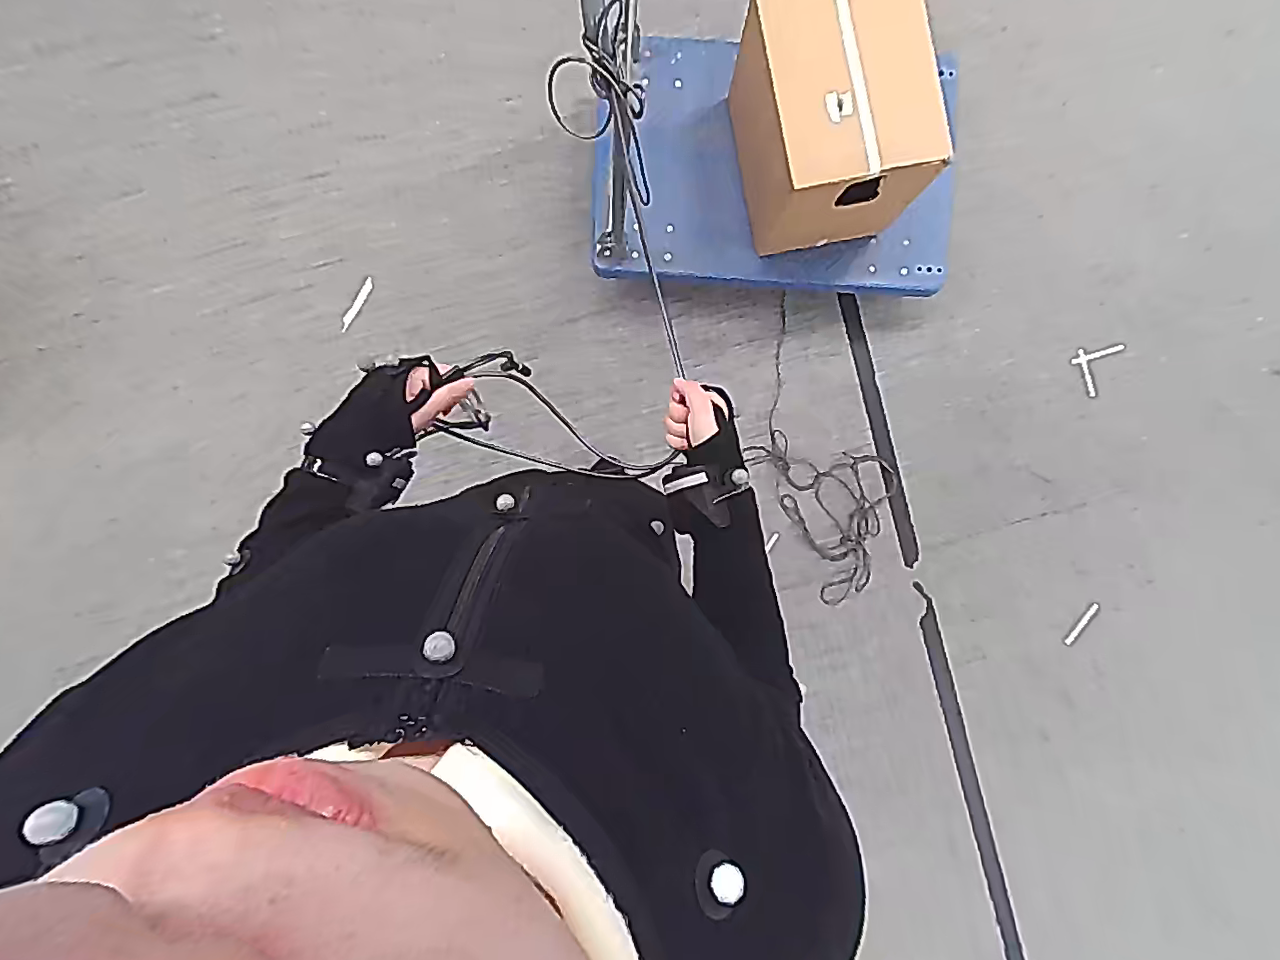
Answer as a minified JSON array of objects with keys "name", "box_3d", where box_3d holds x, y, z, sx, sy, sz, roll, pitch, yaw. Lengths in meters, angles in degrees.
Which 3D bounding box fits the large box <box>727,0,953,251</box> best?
[{"name":"large box","box_3d":[0.398,-0.771,1.158,0.320,0.320,0.408,-11,92,1]}]
